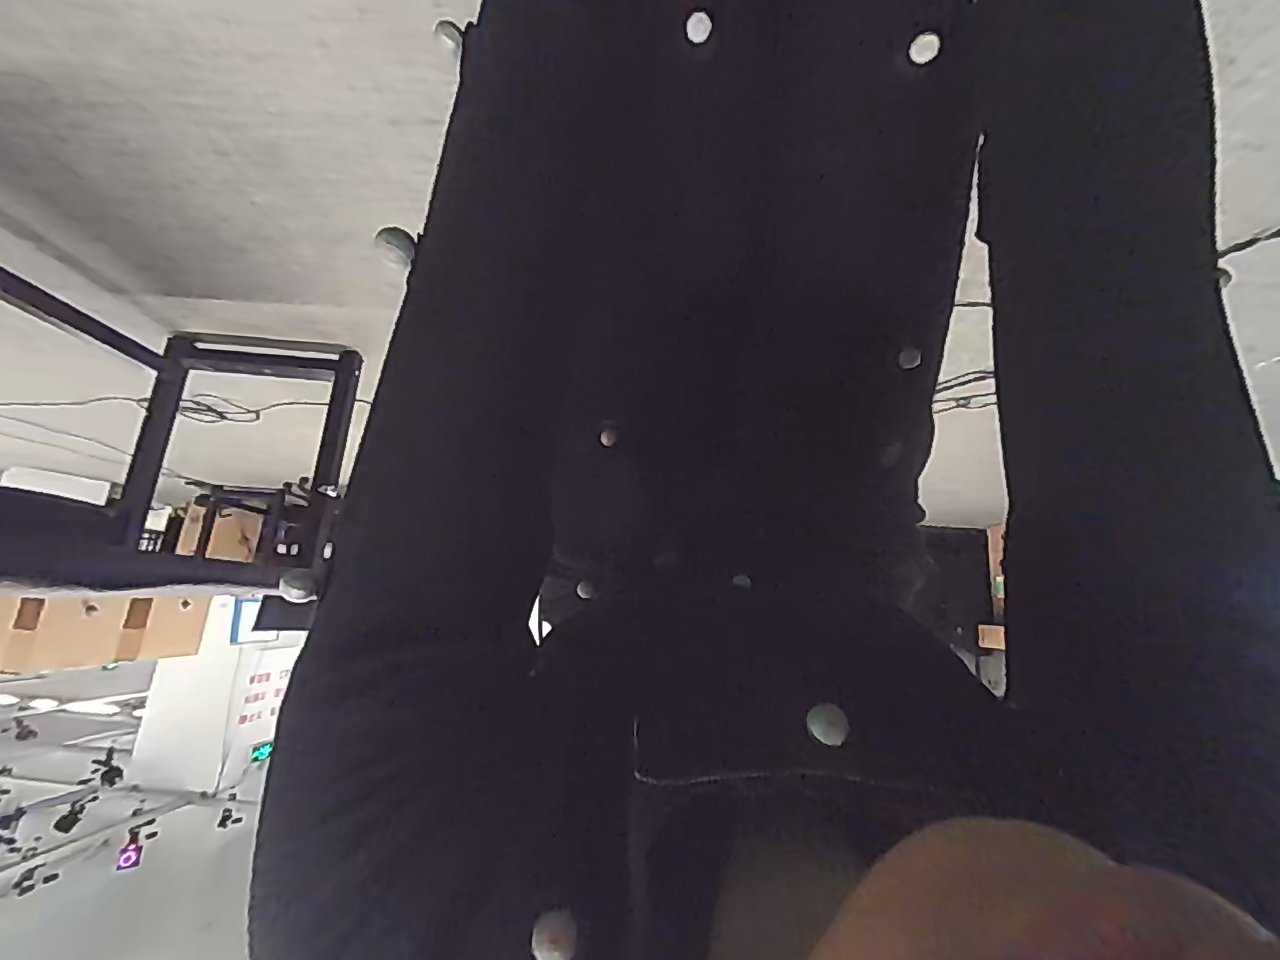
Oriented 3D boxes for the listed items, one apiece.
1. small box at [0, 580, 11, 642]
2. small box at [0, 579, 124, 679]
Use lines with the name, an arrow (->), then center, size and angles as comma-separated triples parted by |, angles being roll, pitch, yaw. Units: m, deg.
small box -> -1.138, 0.226, 0.822 | 0.179, 0.176, 0.168 | 5, 166, 2
small box -> -1.162, 0.280, 1.039 | 0.179, 0.176, 0.168 | 4, 167, 3
